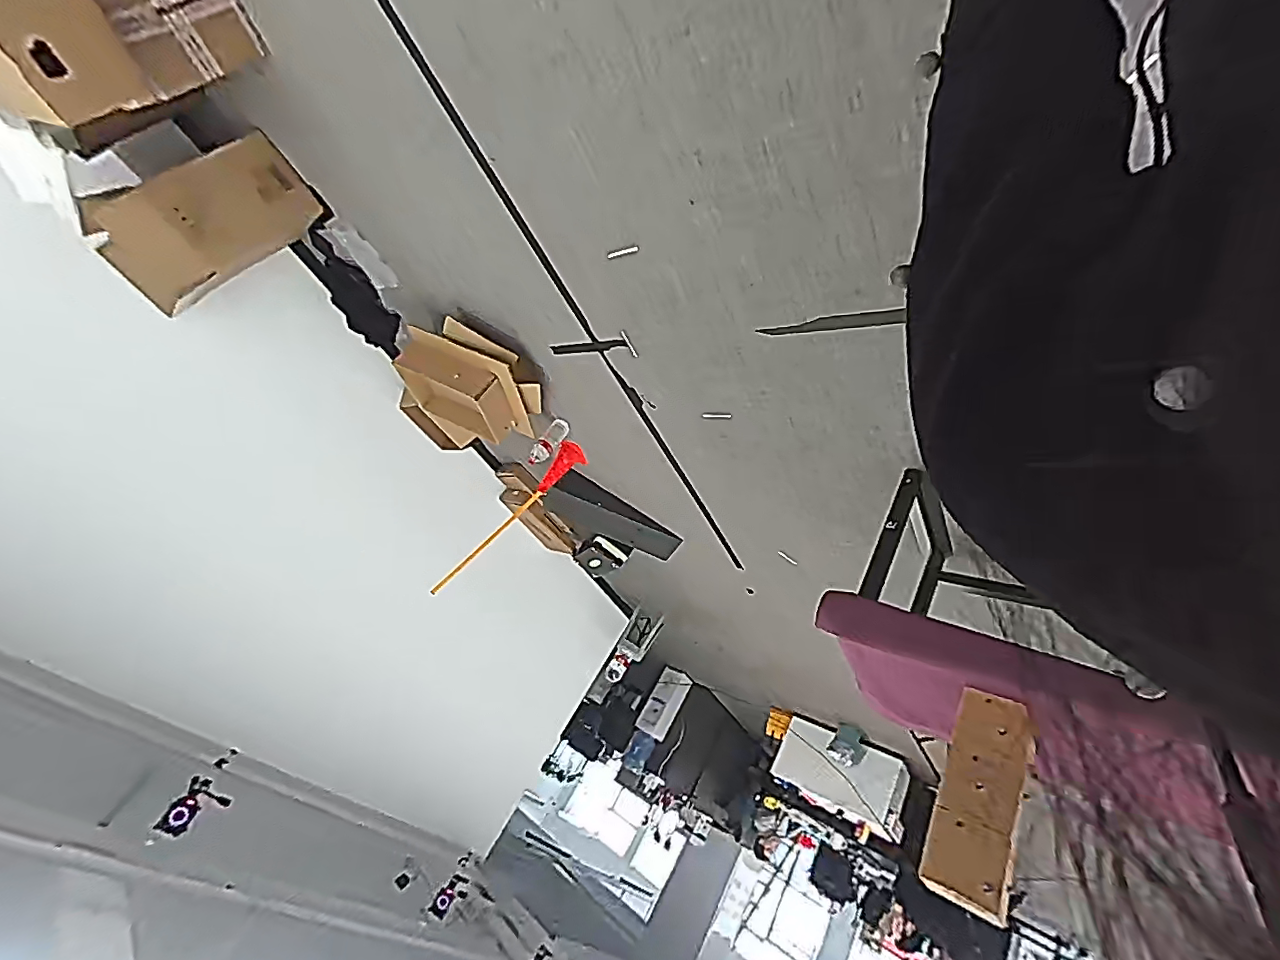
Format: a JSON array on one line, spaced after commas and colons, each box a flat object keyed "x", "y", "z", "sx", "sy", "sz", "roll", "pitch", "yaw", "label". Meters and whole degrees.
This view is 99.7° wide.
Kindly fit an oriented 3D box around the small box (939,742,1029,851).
[{"x": 0.894, "y": 0.814, "z": 1.402, "sx": 0.168, "sy": 0.176, "sz": 0.179, "roll": 8, "pitch": 144, "yaw": 42, "label": "small box"}]

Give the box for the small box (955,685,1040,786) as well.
[{"x": 0.975, "y": 0.688, "z": 1.471, "sx": 0.168, "sy": 0.176, "sz": 0.179, "roll": 7, "pitch": 144, "yaw": 43, "label": "small box"}]
